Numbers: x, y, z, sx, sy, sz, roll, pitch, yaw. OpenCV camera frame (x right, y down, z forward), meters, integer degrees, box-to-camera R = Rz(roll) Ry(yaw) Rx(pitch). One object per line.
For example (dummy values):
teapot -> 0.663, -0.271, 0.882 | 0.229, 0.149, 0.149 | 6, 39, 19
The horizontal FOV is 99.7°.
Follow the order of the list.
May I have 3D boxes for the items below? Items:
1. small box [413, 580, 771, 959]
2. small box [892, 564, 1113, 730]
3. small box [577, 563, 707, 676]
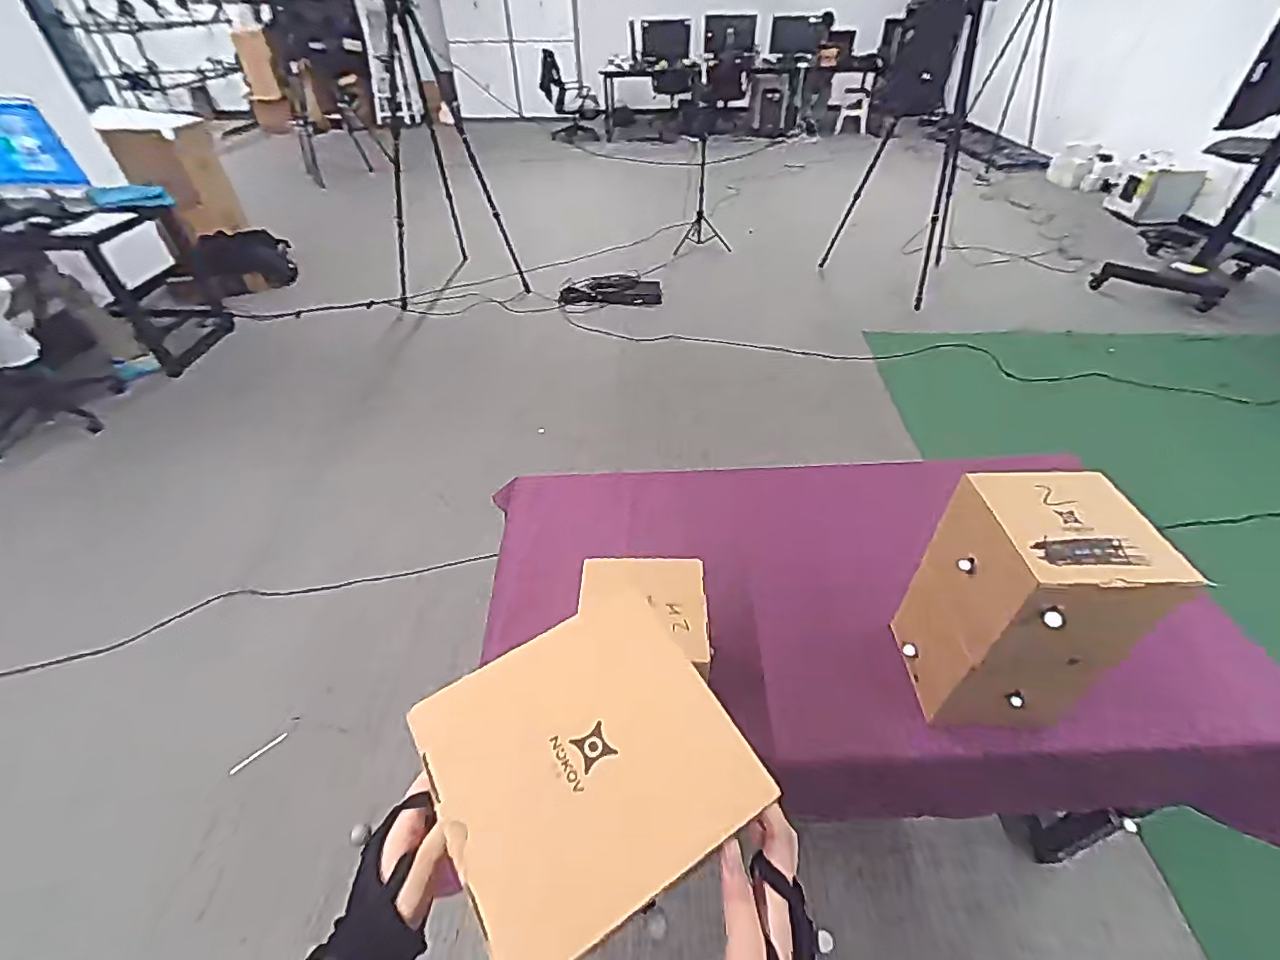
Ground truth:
small box -> -0.036, 0.211, 0.399 | 0.179, 0.176, 0.168 | -25, 55, -19
small box -> 0.488, 0.236, 0.764 | 0.179, 0.176, 0.168 | -1, 41, 2
small box -> 0.002, 0.237, 0.779 | 0.179, 0.176, 0.168 | 0, 42, 2
